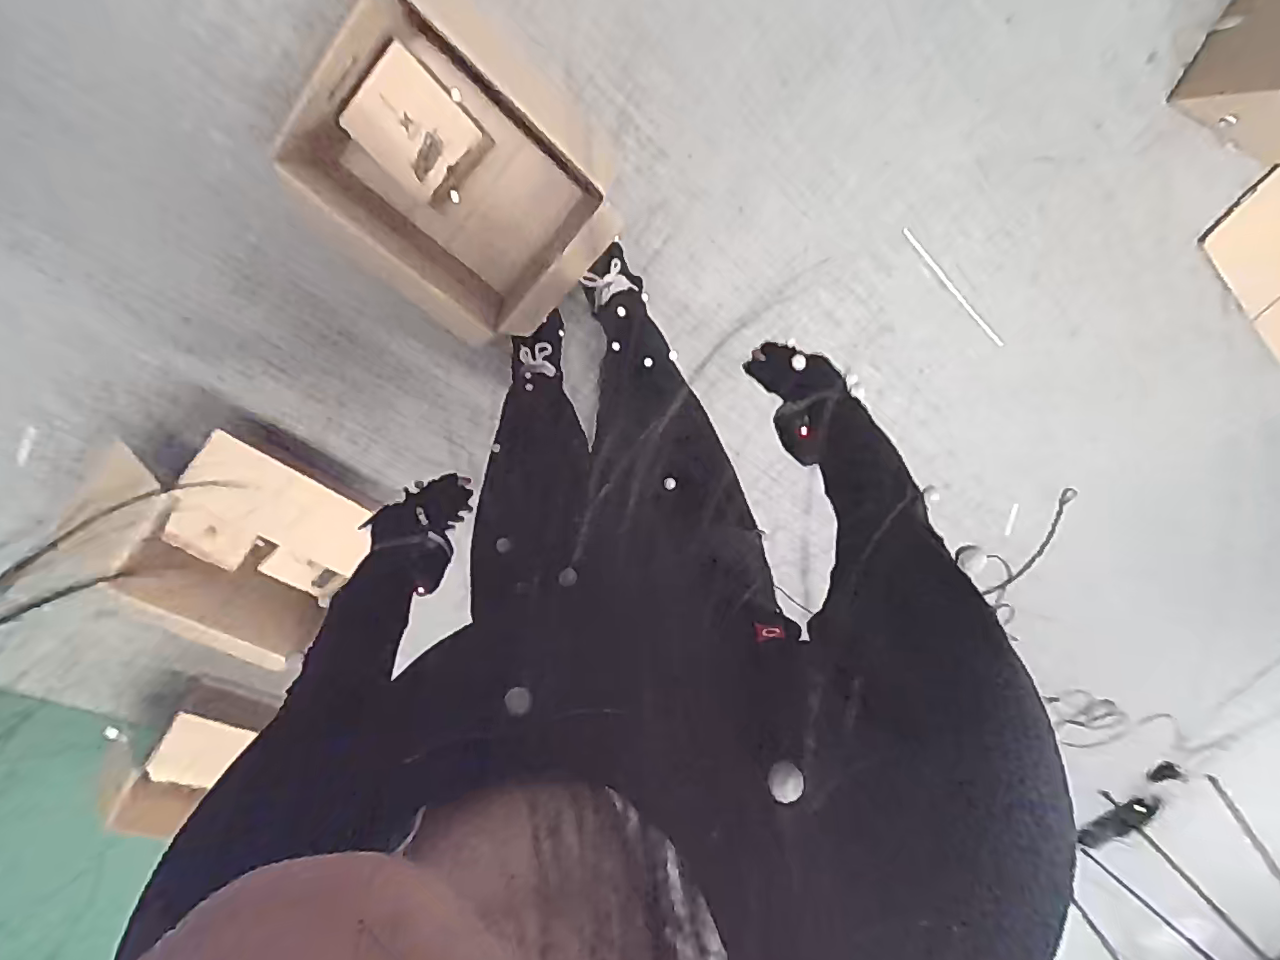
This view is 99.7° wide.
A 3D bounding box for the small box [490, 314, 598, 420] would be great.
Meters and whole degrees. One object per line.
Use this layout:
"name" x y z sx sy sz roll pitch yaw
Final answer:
"small box" -0.230 -0.269 1.280 0.168 0.176 0.179 -39 98 23
